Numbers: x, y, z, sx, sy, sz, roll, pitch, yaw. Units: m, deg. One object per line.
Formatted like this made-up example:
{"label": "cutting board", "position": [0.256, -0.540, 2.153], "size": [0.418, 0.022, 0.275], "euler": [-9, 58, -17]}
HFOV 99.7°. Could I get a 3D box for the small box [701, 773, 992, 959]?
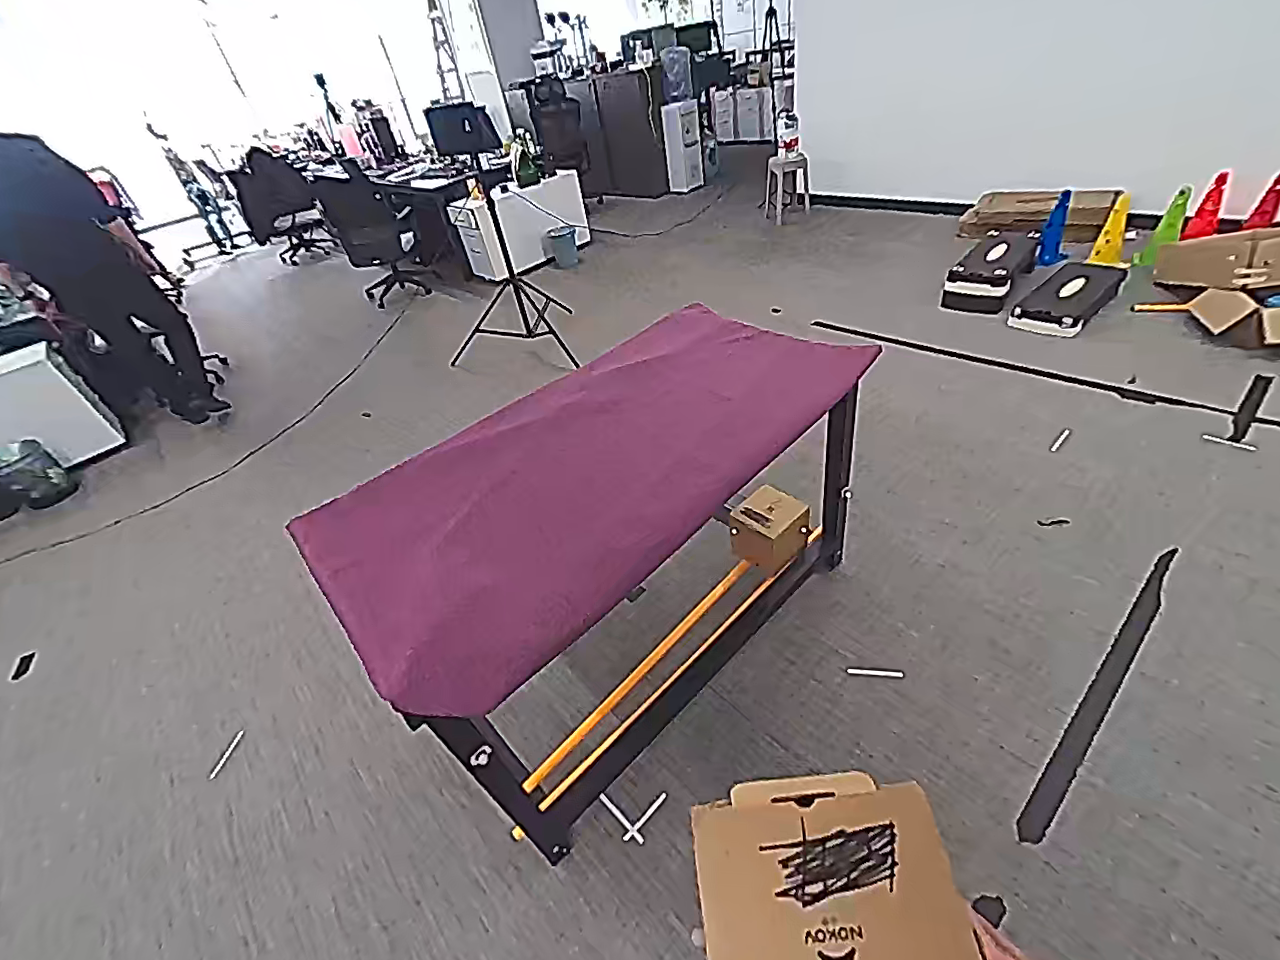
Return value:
{"label": "small box", "position": [0.139, 0.332, 0.394], "size": [0.168, 0.176, 0.179], "euler": [-9, 52, 6]}
